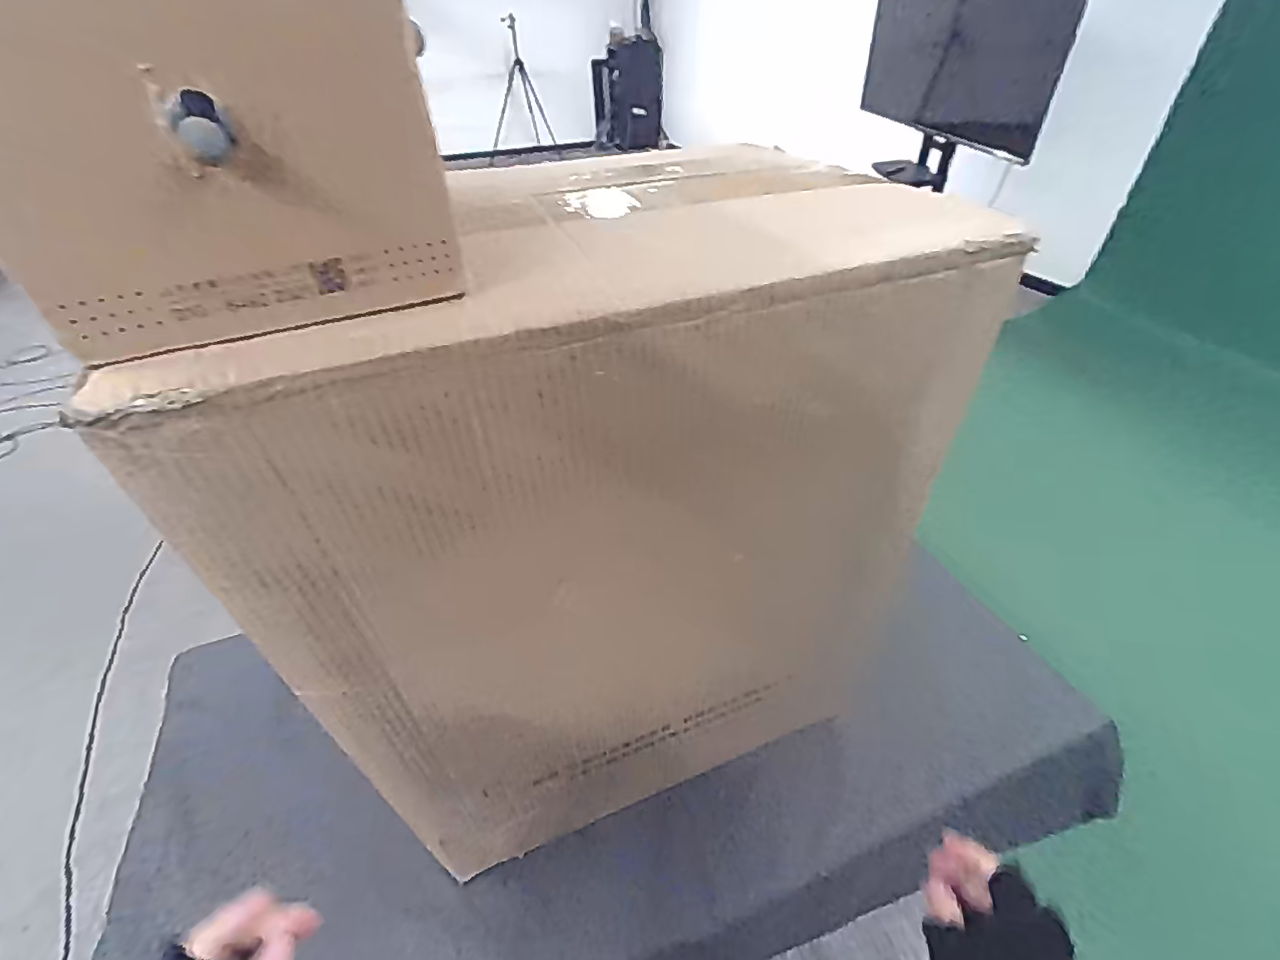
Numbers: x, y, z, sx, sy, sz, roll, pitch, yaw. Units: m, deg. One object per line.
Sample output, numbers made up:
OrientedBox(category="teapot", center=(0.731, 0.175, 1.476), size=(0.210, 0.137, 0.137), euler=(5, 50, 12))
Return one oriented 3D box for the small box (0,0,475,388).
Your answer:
OrientedBox(category="small box", center=(-0.200, -0.164, 0.276), size=(0.168, 0.176, 0.179), euler=(-21, 45, -18))
